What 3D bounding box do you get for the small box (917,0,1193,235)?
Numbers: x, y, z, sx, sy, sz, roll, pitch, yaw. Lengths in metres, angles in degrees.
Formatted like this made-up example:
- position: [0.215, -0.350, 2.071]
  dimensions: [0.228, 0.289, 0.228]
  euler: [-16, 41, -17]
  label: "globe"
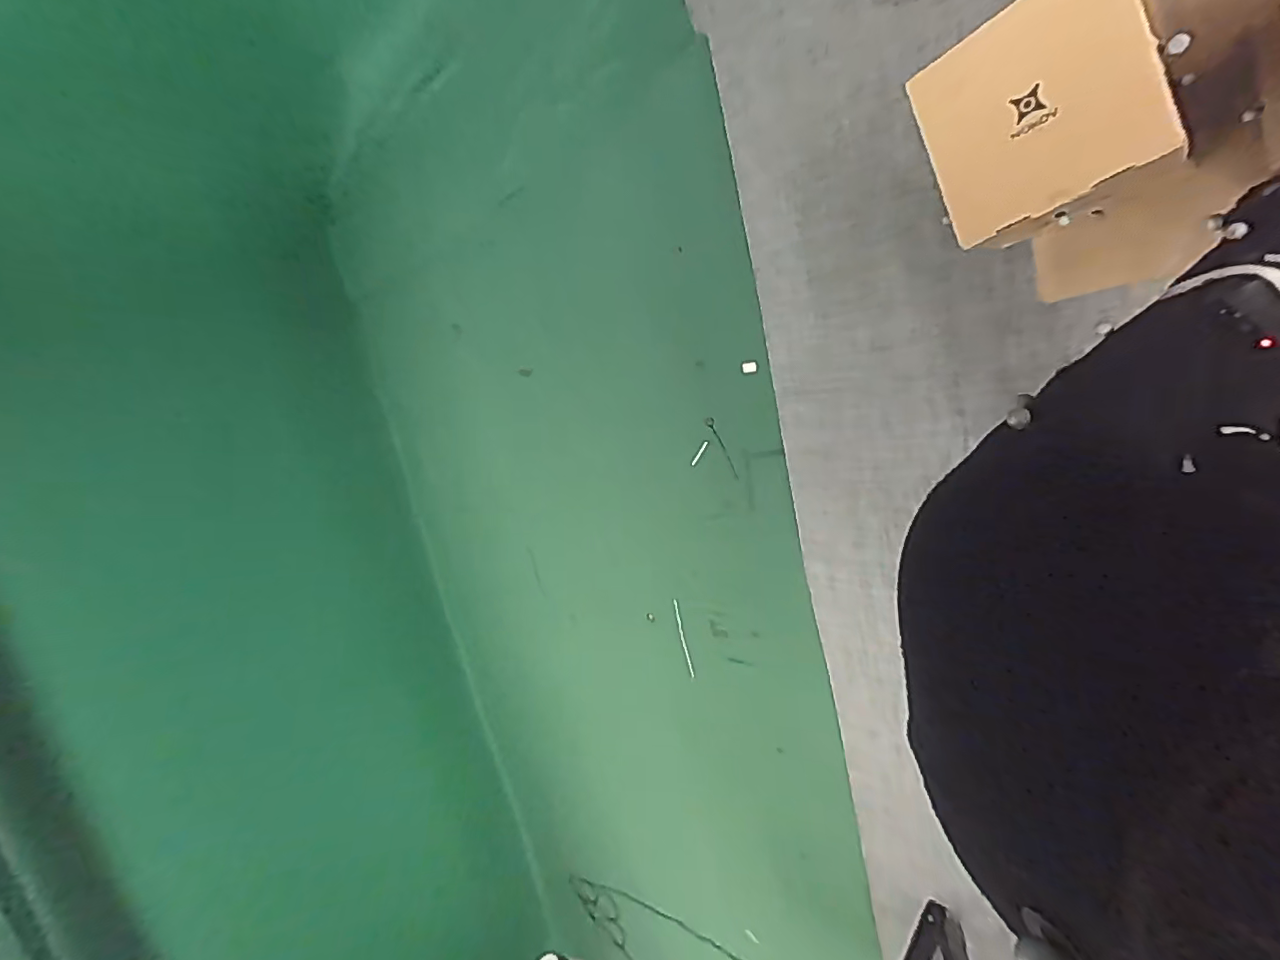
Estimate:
- position: [0.406, -0.363, 0.534]
  dimensions: [0.168, 0.176, 0.179]
  euler: [-17, 97, 47]
  label: "small box"
